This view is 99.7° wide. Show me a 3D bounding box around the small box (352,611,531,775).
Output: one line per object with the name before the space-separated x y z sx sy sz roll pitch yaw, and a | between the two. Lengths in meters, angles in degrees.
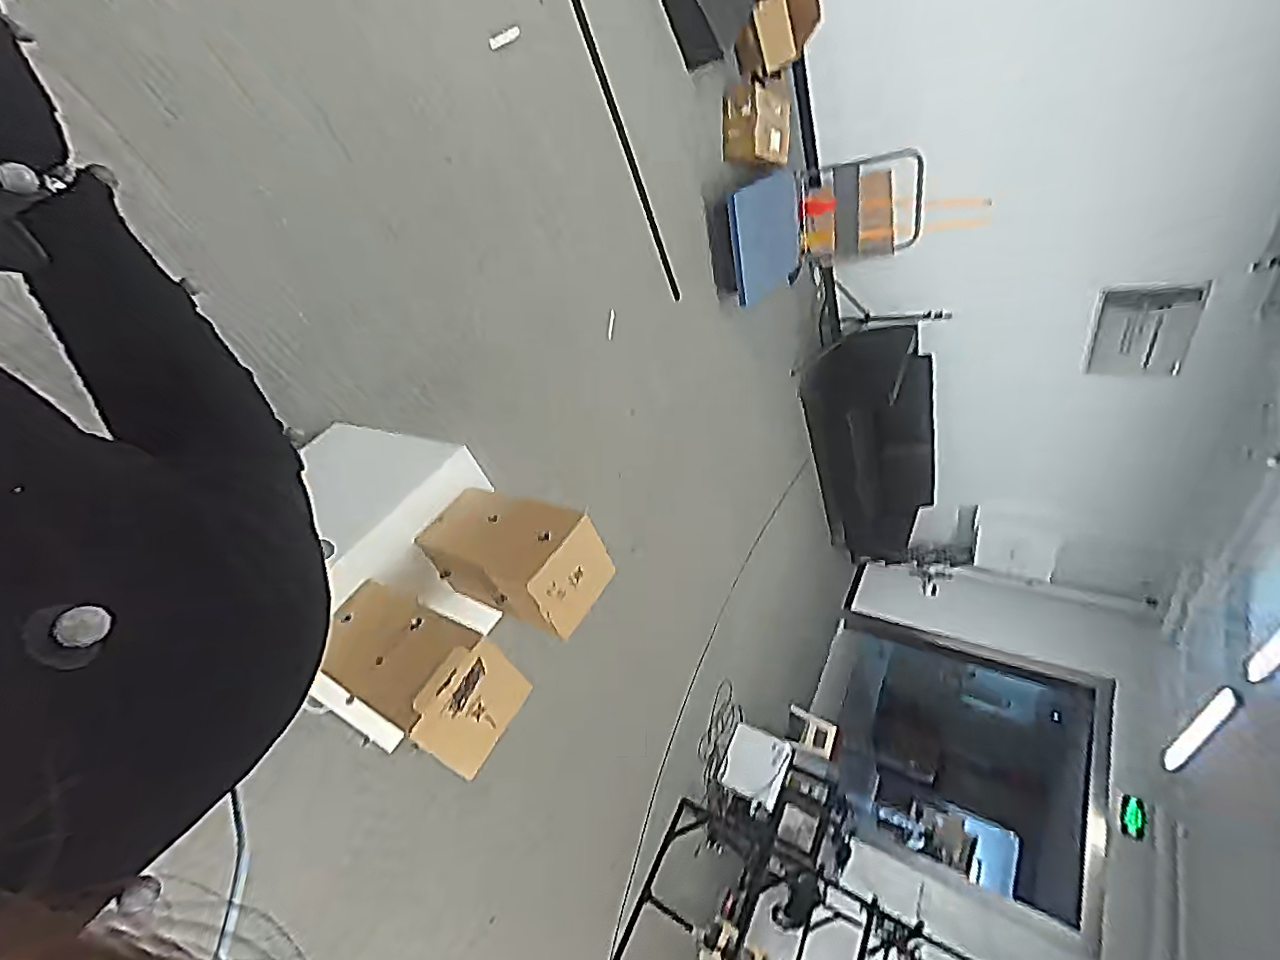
small box | -0.318 0.332 0.873 0.168 0.176 0.179 -54 139 -32

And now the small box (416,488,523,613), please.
small box | -0.316 0.137 1.111 0.168 0.176 0.179 -52 138 -34

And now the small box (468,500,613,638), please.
small box | -0.184 0.158 1.015 0.179 0.176 0.168 -52 136 -33
